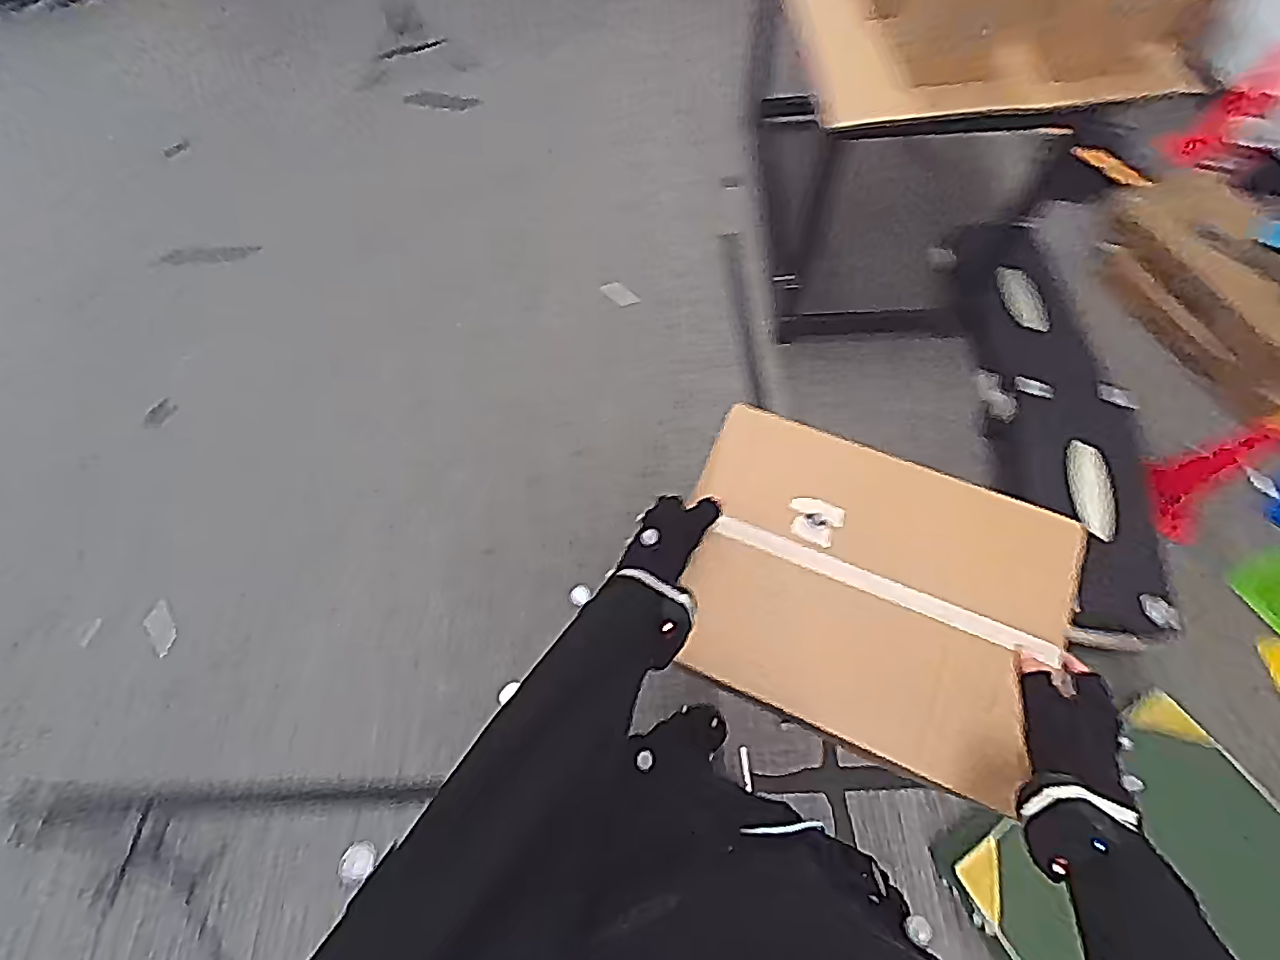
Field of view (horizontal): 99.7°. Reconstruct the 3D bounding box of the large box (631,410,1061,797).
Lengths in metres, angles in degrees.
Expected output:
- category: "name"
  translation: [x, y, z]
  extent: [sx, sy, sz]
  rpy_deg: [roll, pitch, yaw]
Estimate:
- category: "large box"
  translation: [0.244, 0.158, 0.735]
  extent: [0.408, 0.320, 0.320]
  rpy_deg: [20, 72, 13]
